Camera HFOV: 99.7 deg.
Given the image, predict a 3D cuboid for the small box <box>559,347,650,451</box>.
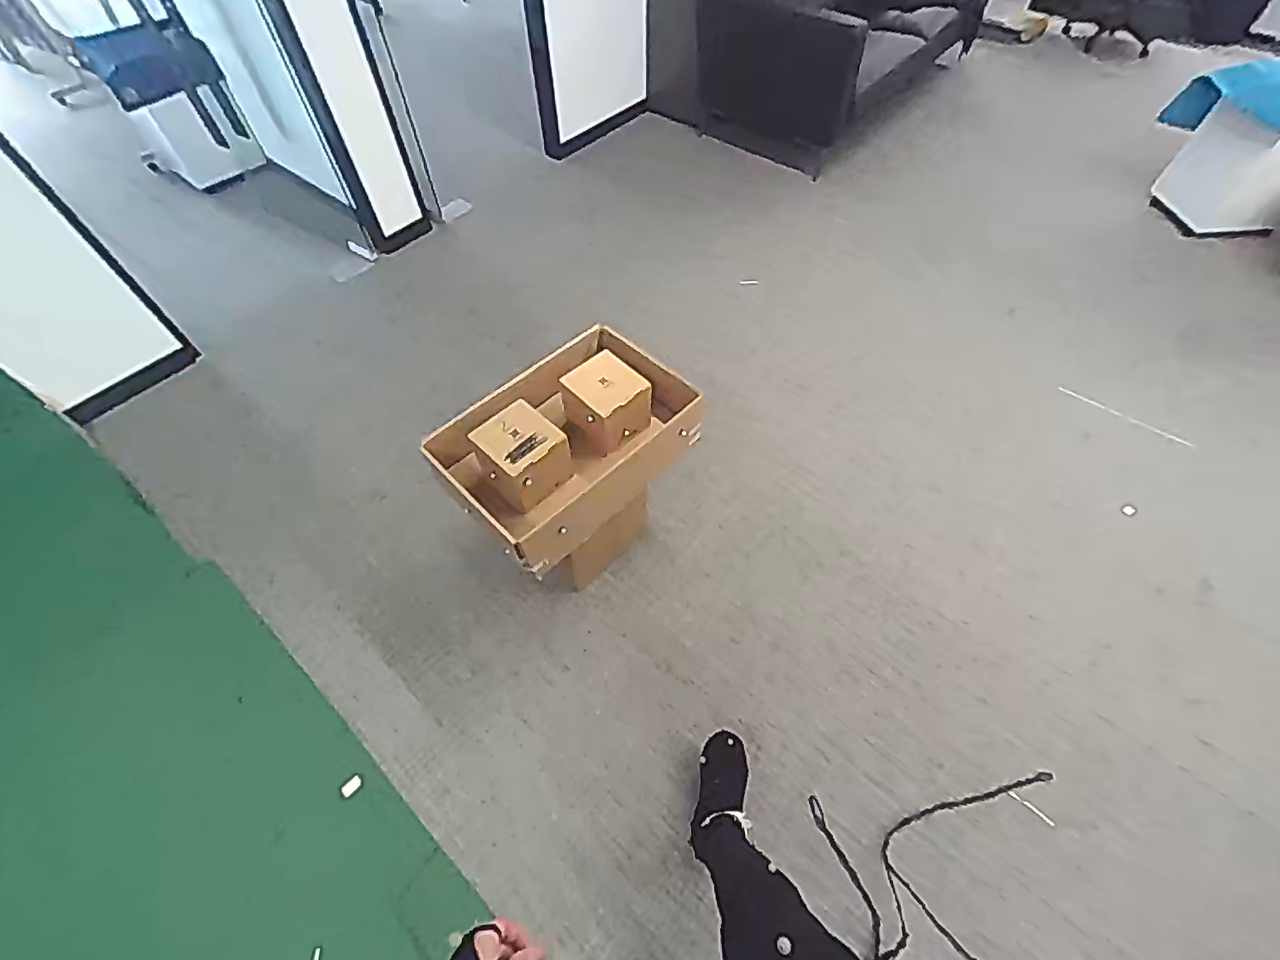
[{"bbox_3d":[-0.092,-0.210,1.429,0.168,0.176,0.179,-39,65,-22],"label":"small box"}]
